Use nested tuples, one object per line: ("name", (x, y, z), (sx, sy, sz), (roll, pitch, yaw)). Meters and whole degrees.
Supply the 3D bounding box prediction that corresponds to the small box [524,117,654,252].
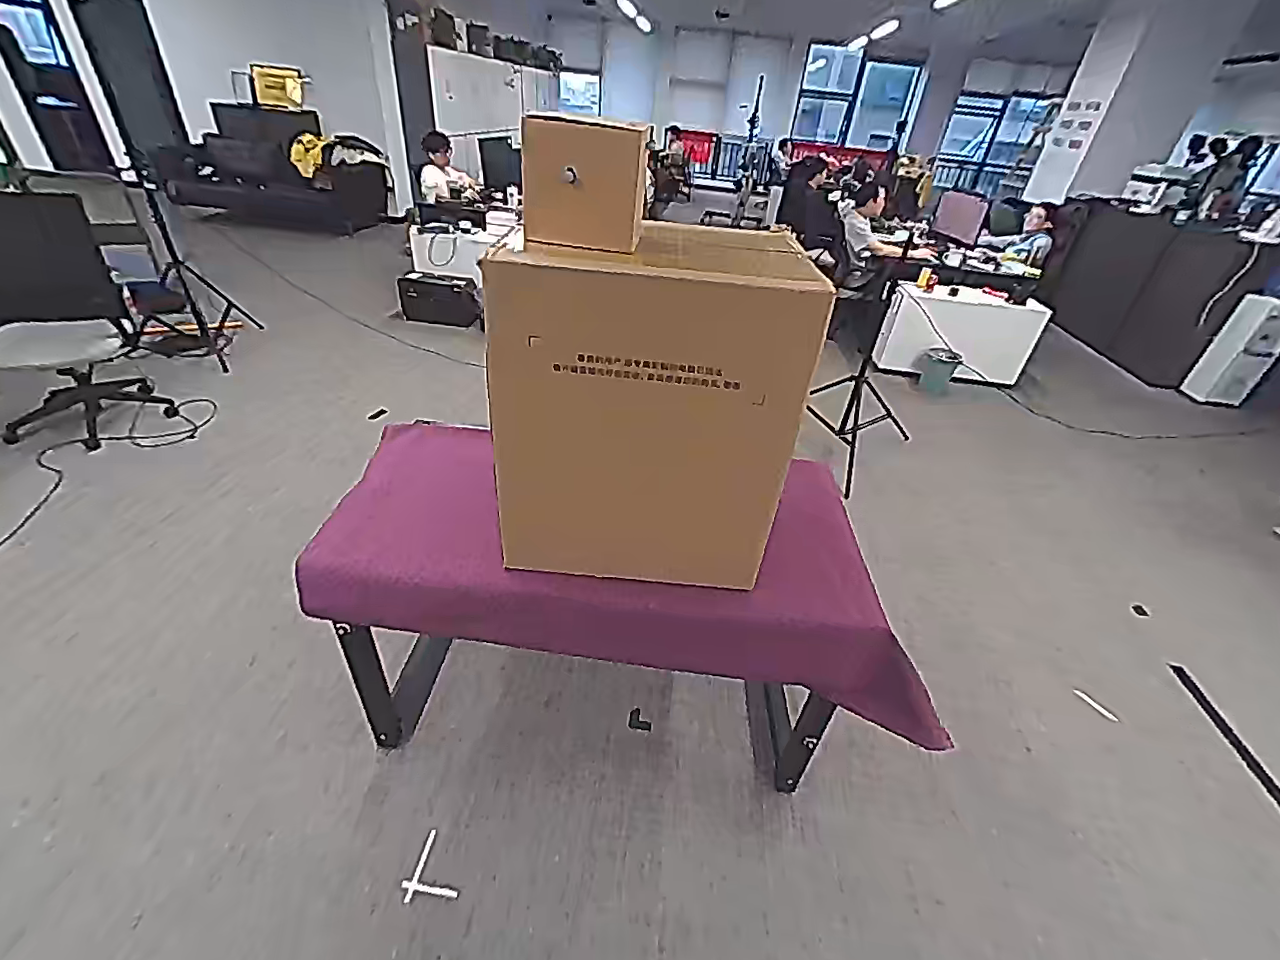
("small box", (-0.077, -0.473, 0.867), (0.179, 0.176, 0.168), (7, 36, 1))
